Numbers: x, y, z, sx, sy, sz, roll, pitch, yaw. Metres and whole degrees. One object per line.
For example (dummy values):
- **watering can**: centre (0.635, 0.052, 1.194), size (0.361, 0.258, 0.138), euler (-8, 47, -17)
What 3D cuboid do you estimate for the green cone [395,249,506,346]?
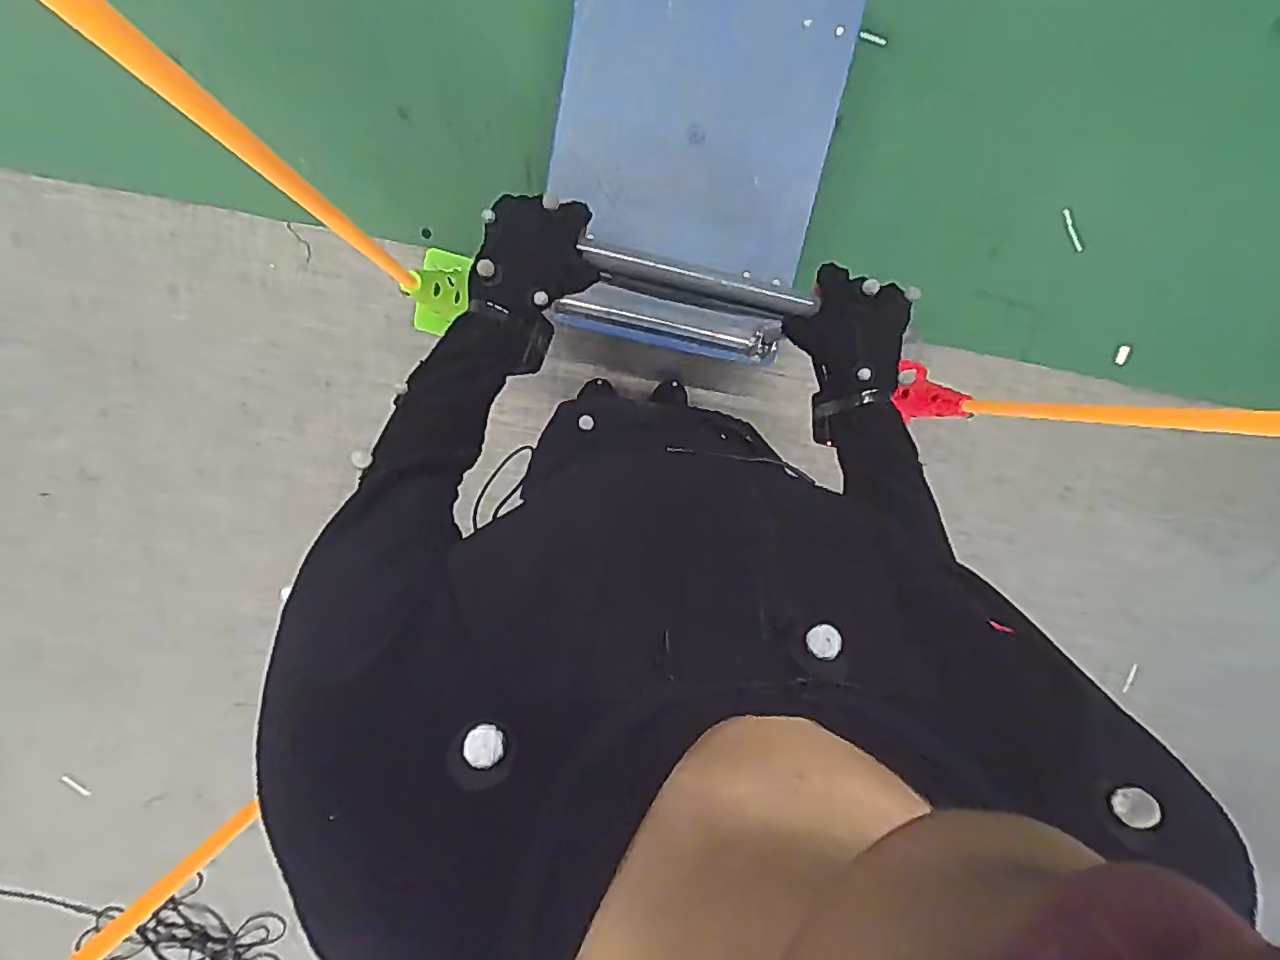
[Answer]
- **green cone**: centre (-0.440, -0.417, 1.181), size (0.202, 0.368, 0.200), euler (14, 101, -6)
